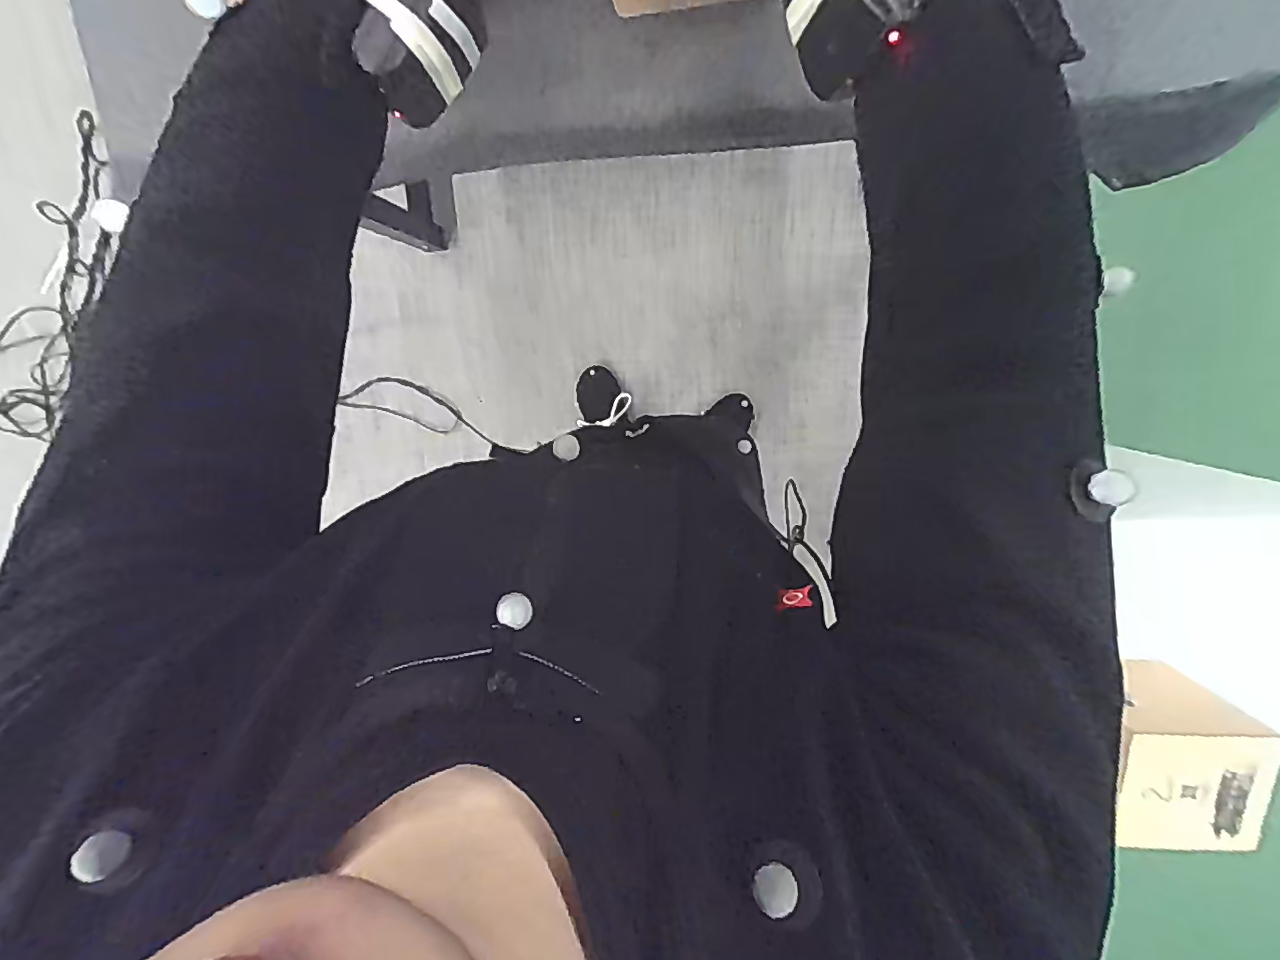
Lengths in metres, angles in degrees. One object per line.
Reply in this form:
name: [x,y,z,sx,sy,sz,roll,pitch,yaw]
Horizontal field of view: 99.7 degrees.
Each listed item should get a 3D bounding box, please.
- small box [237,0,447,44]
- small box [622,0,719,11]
small box: [-0.278,-0.500,0.444,0.168,0.176,0.179,-6,103,4]
small box: [0.044,-0.525,0.422,0.168,0.176,0.179,-5,103,4]
